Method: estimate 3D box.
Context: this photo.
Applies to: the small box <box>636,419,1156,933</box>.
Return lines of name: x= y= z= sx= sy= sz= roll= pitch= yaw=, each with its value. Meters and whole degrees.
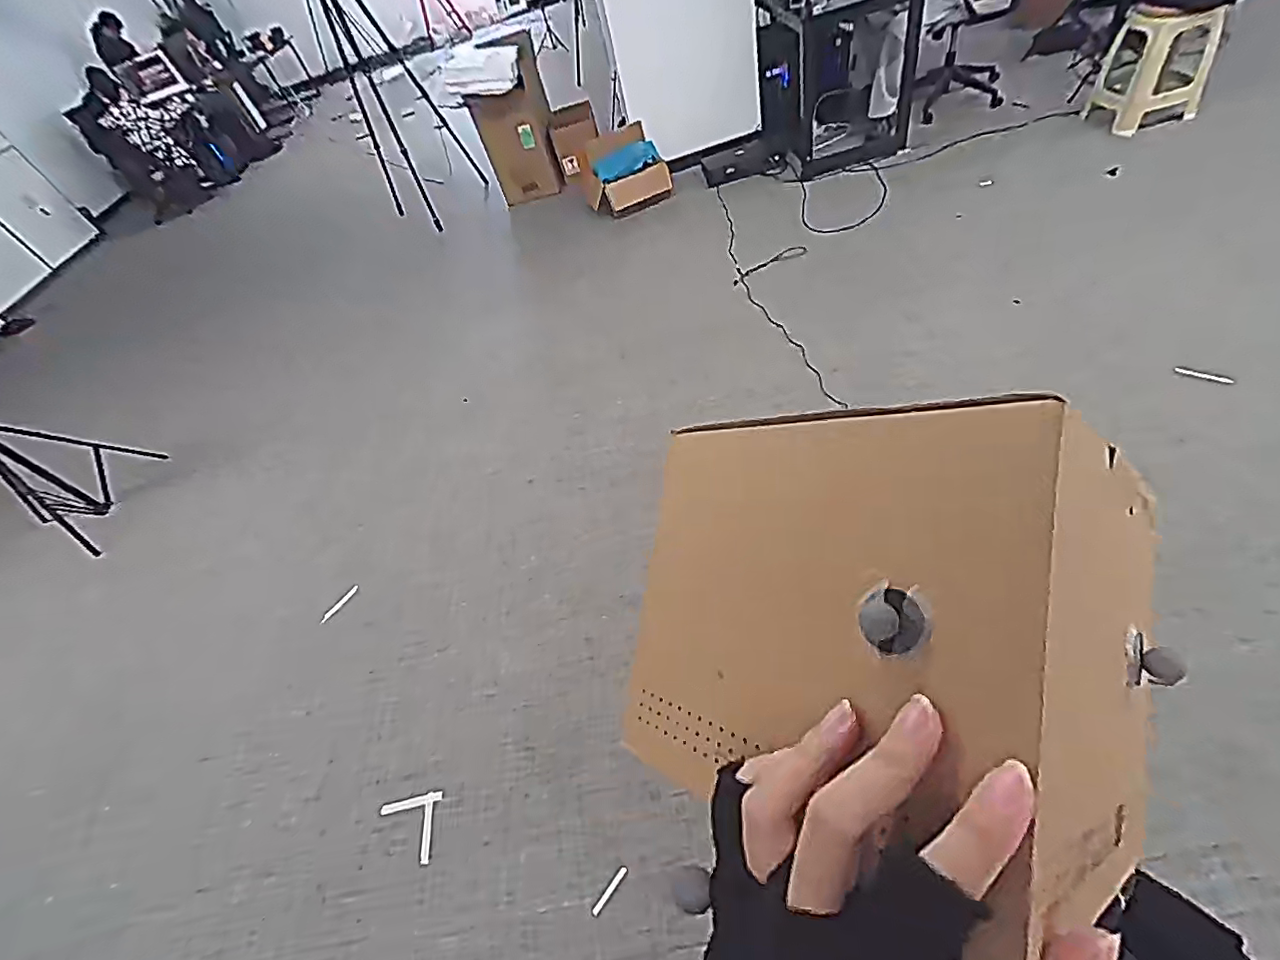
small box: x=0.120 y=0.077 z=0.268 sx=0.179 sy=0.168 sz=0.176 roll=0 pitch=77 yaw=51
